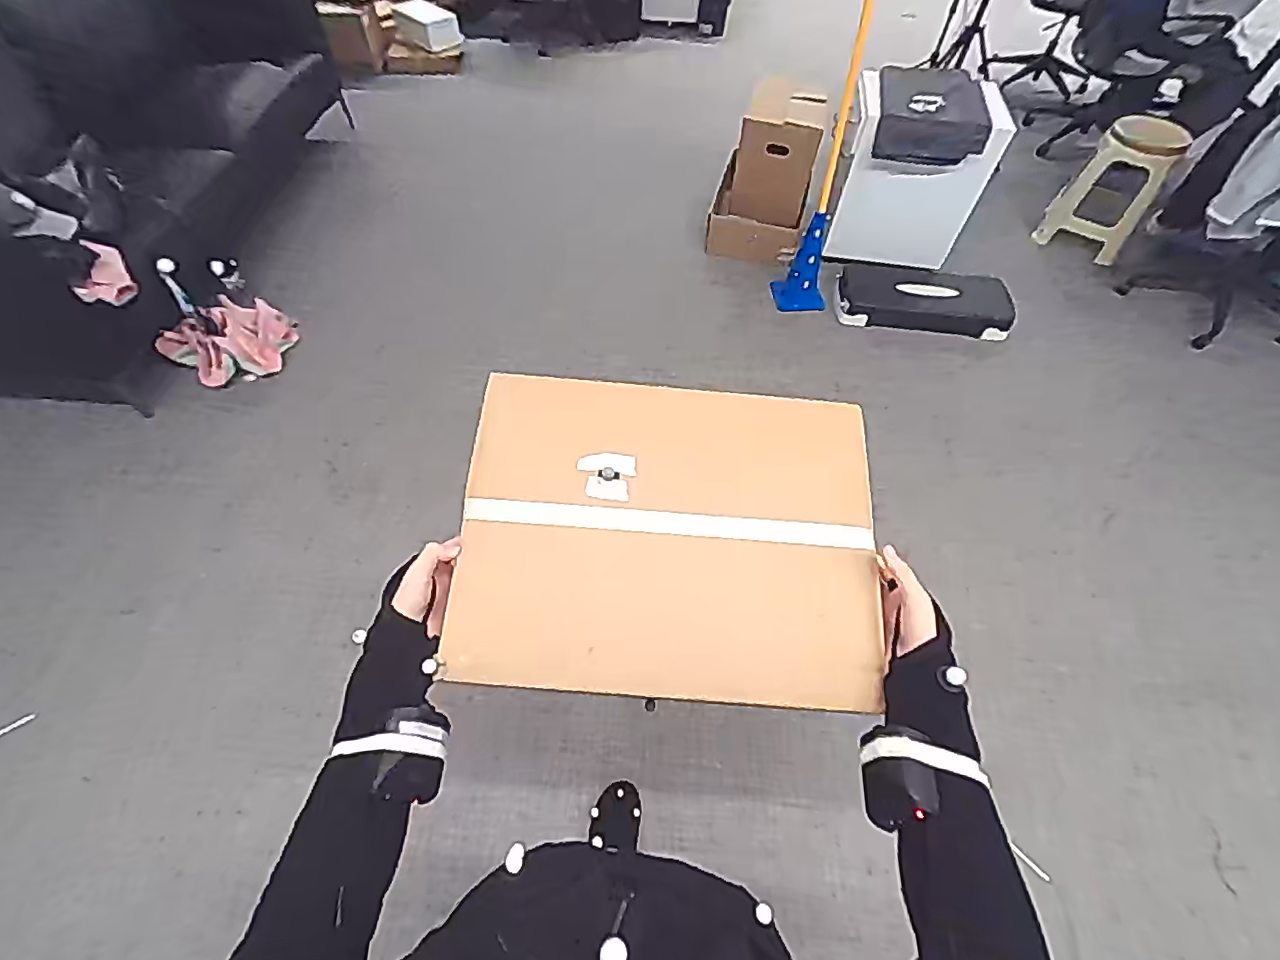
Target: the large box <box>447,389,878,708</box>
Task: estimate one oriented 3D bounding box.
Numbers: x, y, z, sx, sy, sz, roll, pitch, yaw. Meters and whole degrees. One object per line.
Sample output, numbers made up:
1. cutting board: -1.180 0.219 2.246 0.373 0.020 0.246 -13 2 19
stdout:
1. large box: 0.027 0.105 0.684 0.408 0.320 0.320 4 68 0
